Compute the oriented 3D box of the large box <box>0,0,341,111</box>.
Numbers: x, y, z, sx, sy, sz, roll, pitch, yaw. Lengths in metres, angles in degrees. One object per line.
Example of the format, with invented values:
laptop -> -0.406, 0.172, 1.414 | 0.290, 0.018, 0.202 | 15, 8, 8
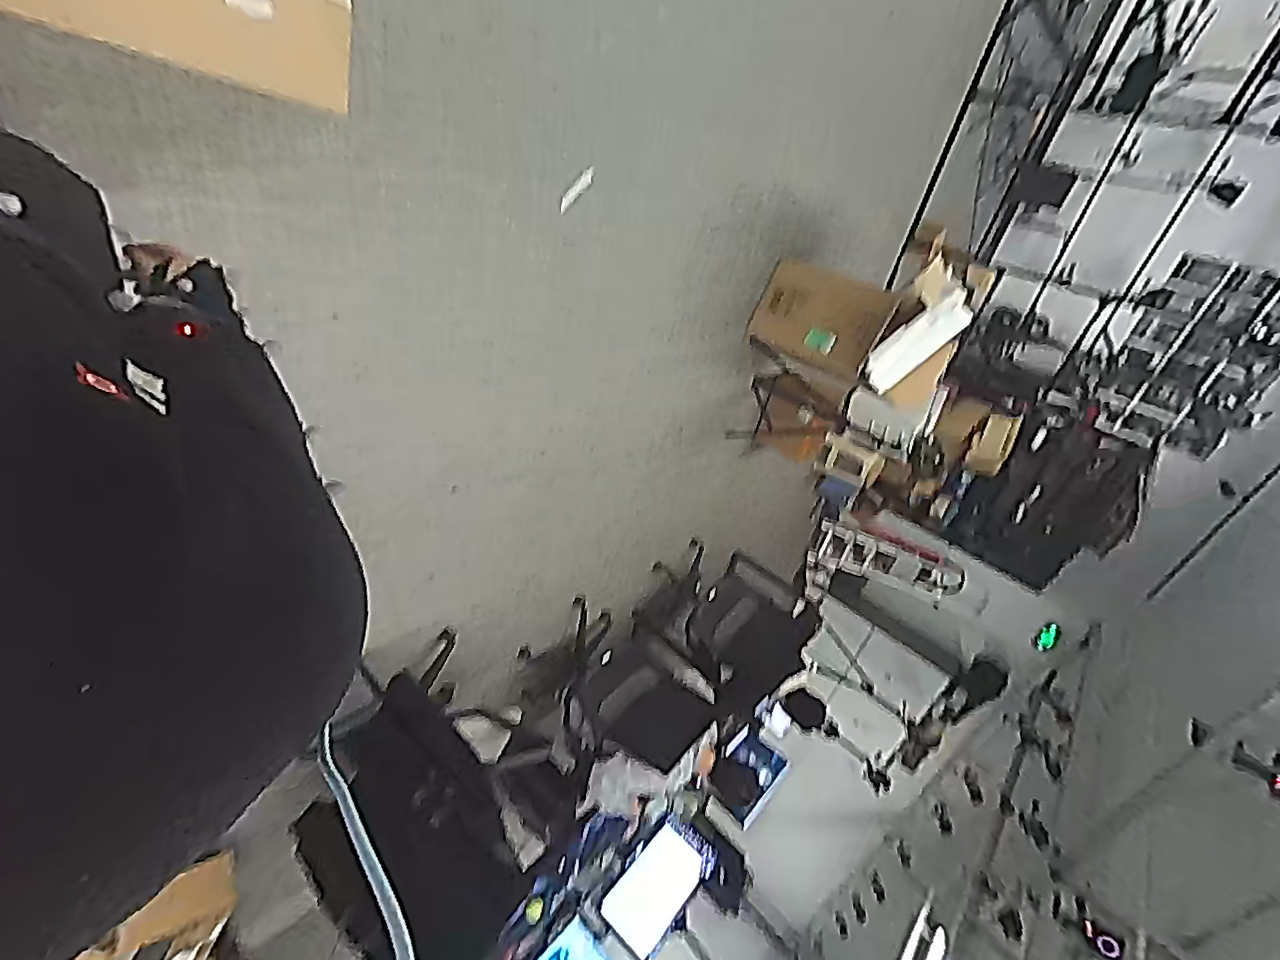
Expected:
large box -> -0.686, -0.754, 0.736 | 0.408, 0.320, 0.320 | -18, 133, -49
